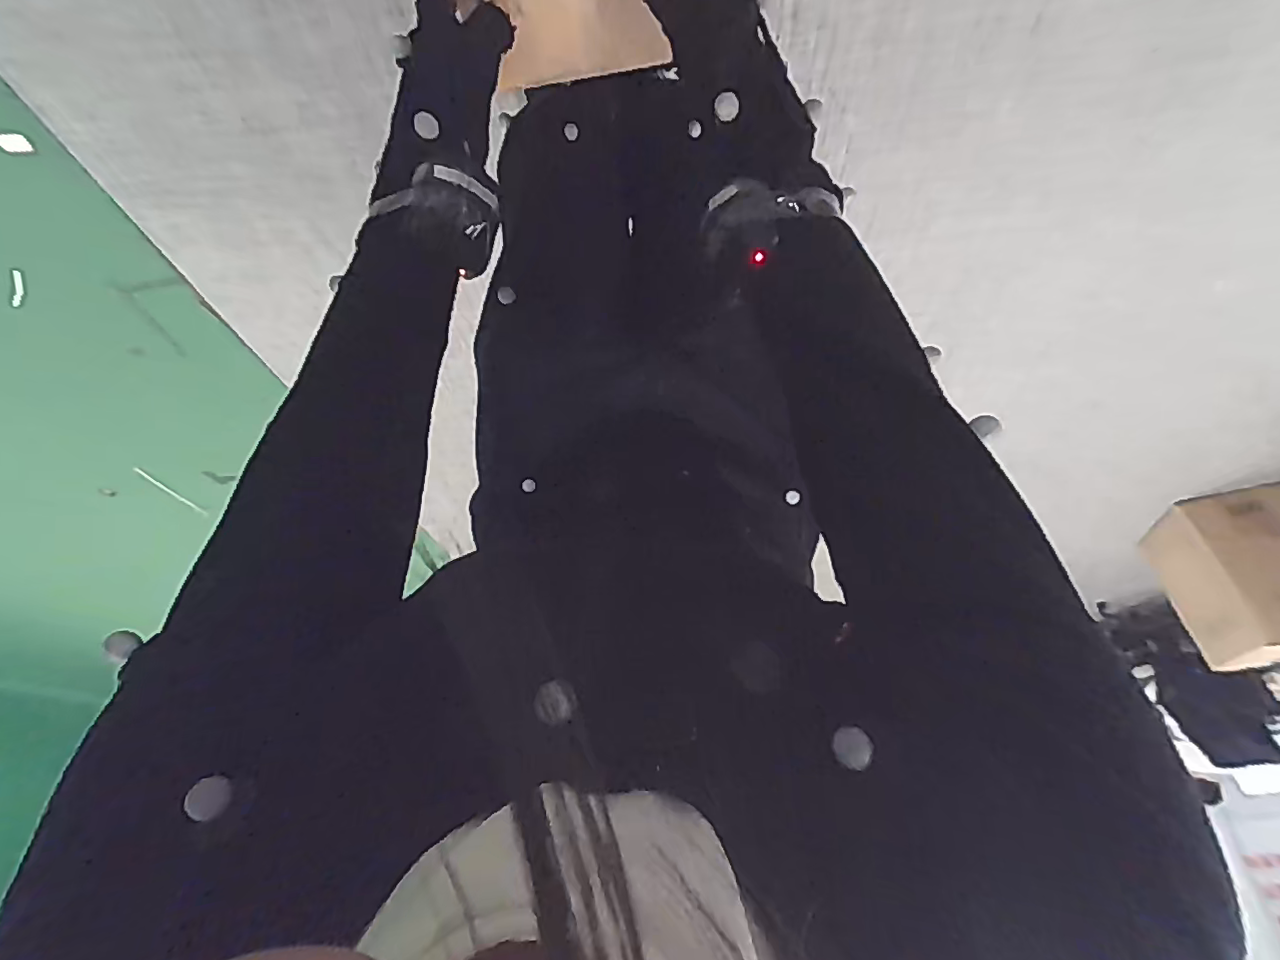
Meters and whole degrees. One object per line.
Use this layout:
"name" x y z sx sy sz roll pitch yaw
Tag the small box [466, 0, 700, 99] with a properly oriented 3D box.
"small box" -0.050 -0.443 0.429 0.179 0.176 0.168 -6 147 5
